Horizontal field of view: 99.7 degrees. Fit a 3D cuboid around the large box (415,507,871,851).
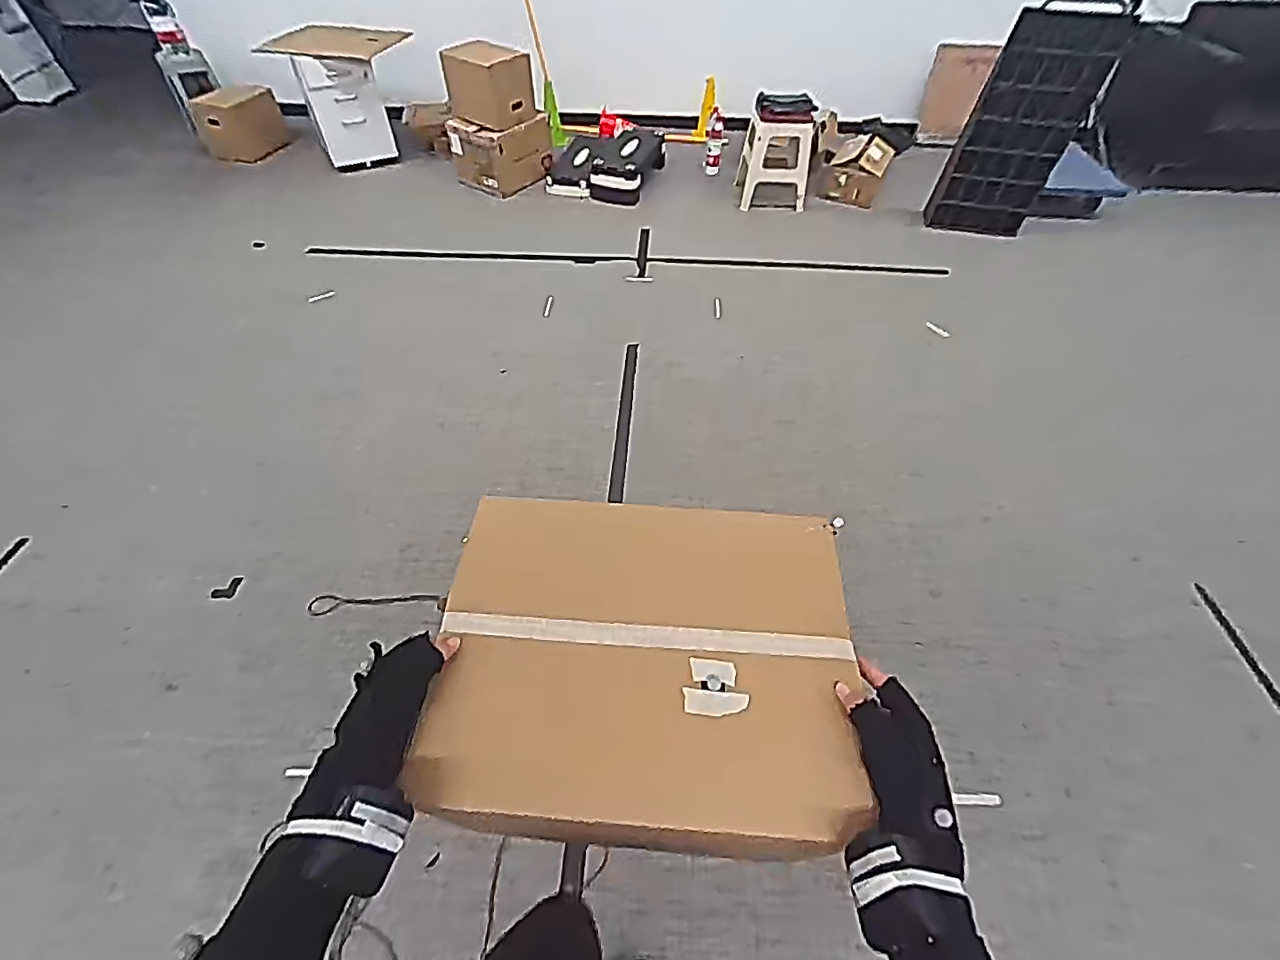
[{"bbox_3d":[0.005,0.253,0.670,0.408,0.320,0.320,4,54,2],"label":"large box"}]
